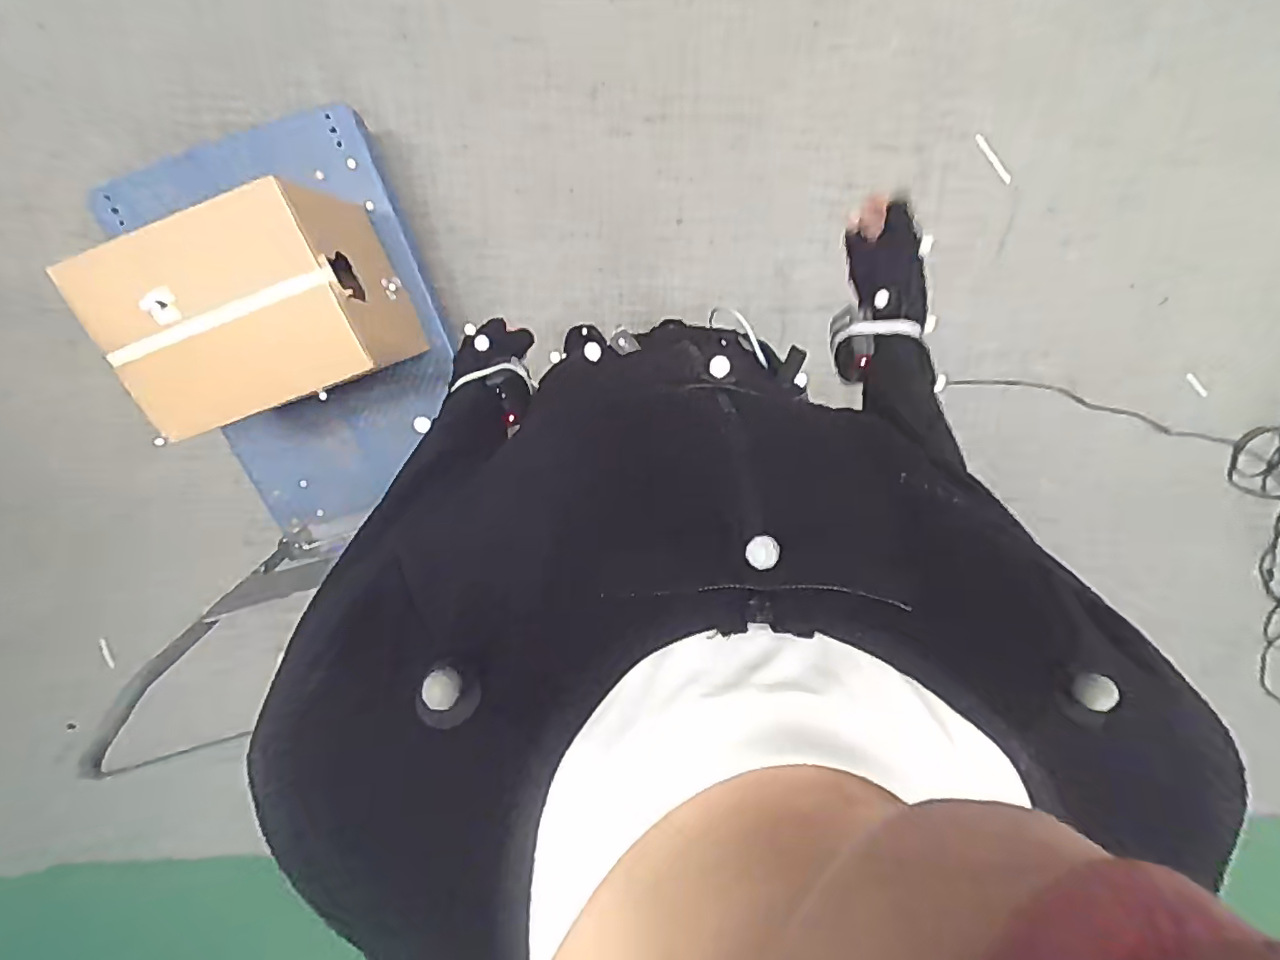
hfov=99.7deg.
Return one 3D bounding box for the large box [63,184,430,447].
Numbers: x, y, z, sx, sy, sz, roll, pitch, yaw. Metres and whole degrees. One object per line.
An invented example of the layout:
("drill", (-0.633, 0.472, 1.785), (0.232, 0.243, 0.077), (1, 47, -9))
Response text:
("large box", (-0.696, -0.307, 1.036), (0.408, 0.320, 0.320), (-19, 107, 5))
